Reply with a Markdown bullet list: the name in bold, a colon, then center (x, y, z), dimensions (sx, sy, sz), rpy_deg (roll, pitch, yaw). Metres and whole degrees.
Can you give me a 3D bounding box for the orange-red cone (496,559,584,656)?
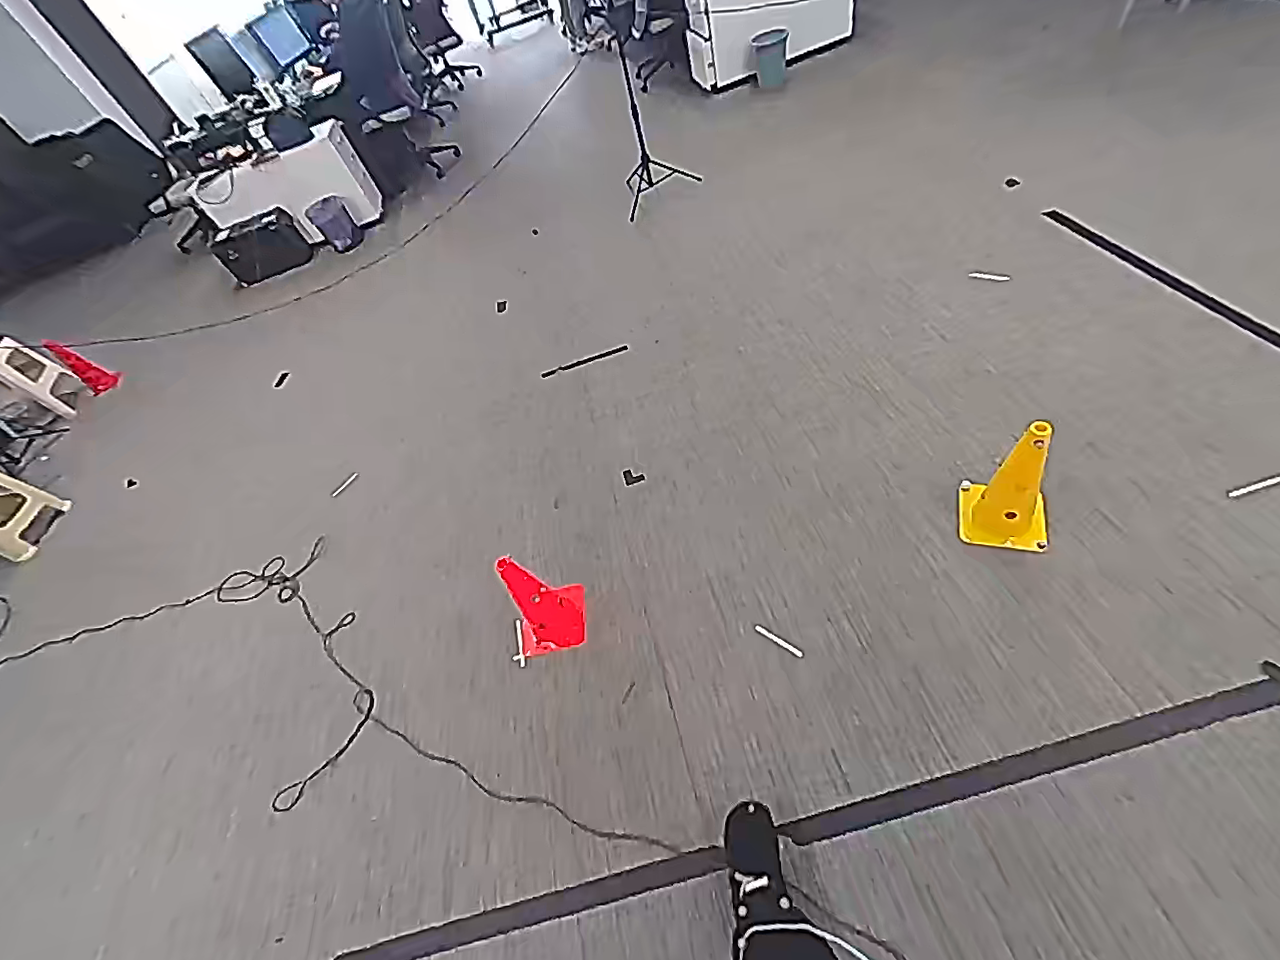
- **orange-red cone**: center (-0.305, 0.321, 1.502), dimensions (0.199, 0.360, 0.198), rpy_deg (-13, 50, 7)
